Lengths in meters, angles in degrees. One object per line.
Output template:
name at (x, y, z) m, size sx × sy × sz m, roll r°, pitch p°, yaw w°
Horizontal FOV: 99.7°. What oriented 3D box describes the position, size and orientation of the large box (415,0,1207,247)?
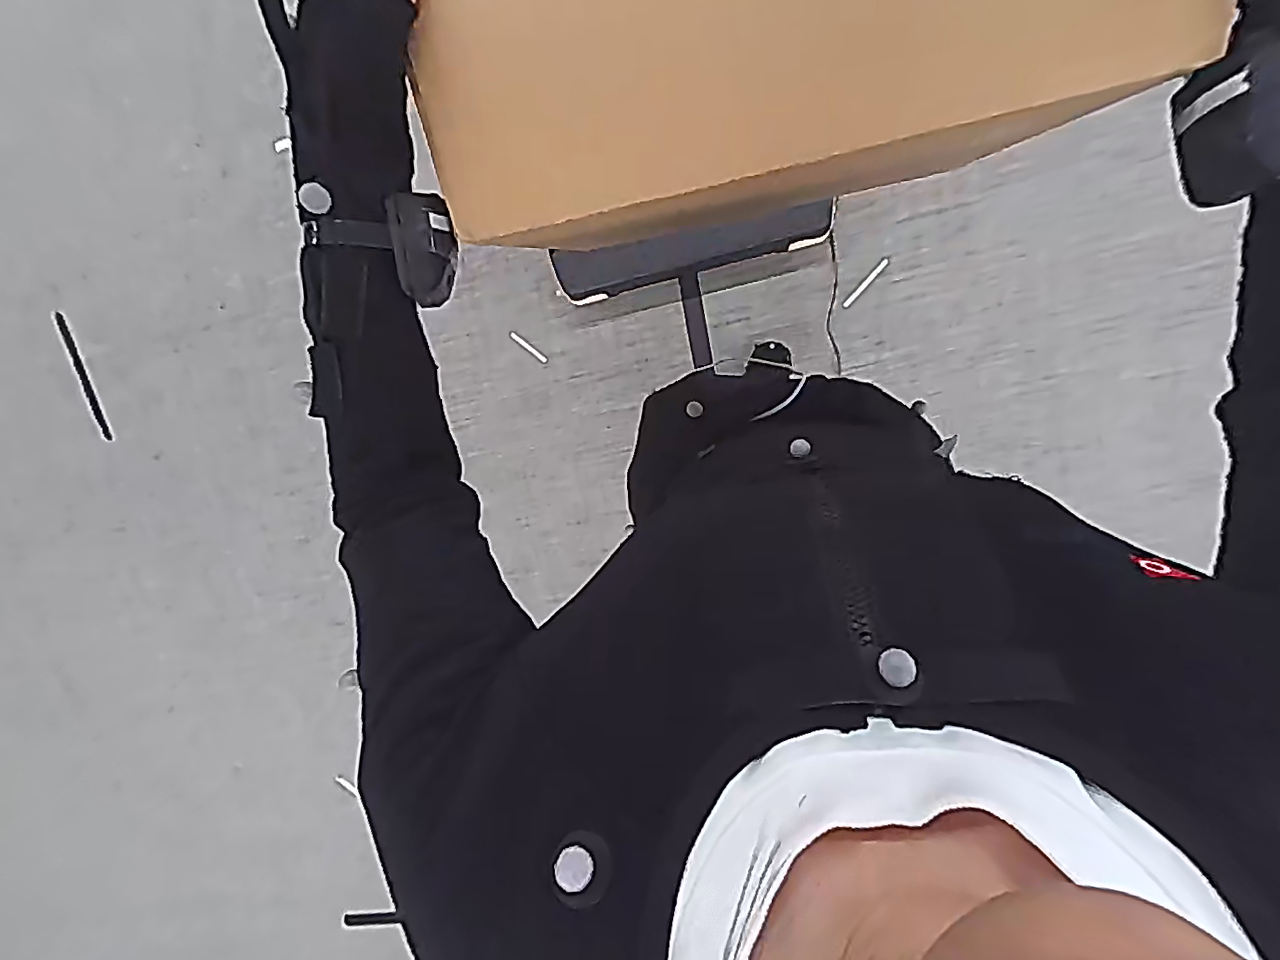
large box at (0.076, -0.383, 0.397) m, size 0.408 × 0.320 × 0.320 m, roll -8°, pitch 111°, yaw 11°
